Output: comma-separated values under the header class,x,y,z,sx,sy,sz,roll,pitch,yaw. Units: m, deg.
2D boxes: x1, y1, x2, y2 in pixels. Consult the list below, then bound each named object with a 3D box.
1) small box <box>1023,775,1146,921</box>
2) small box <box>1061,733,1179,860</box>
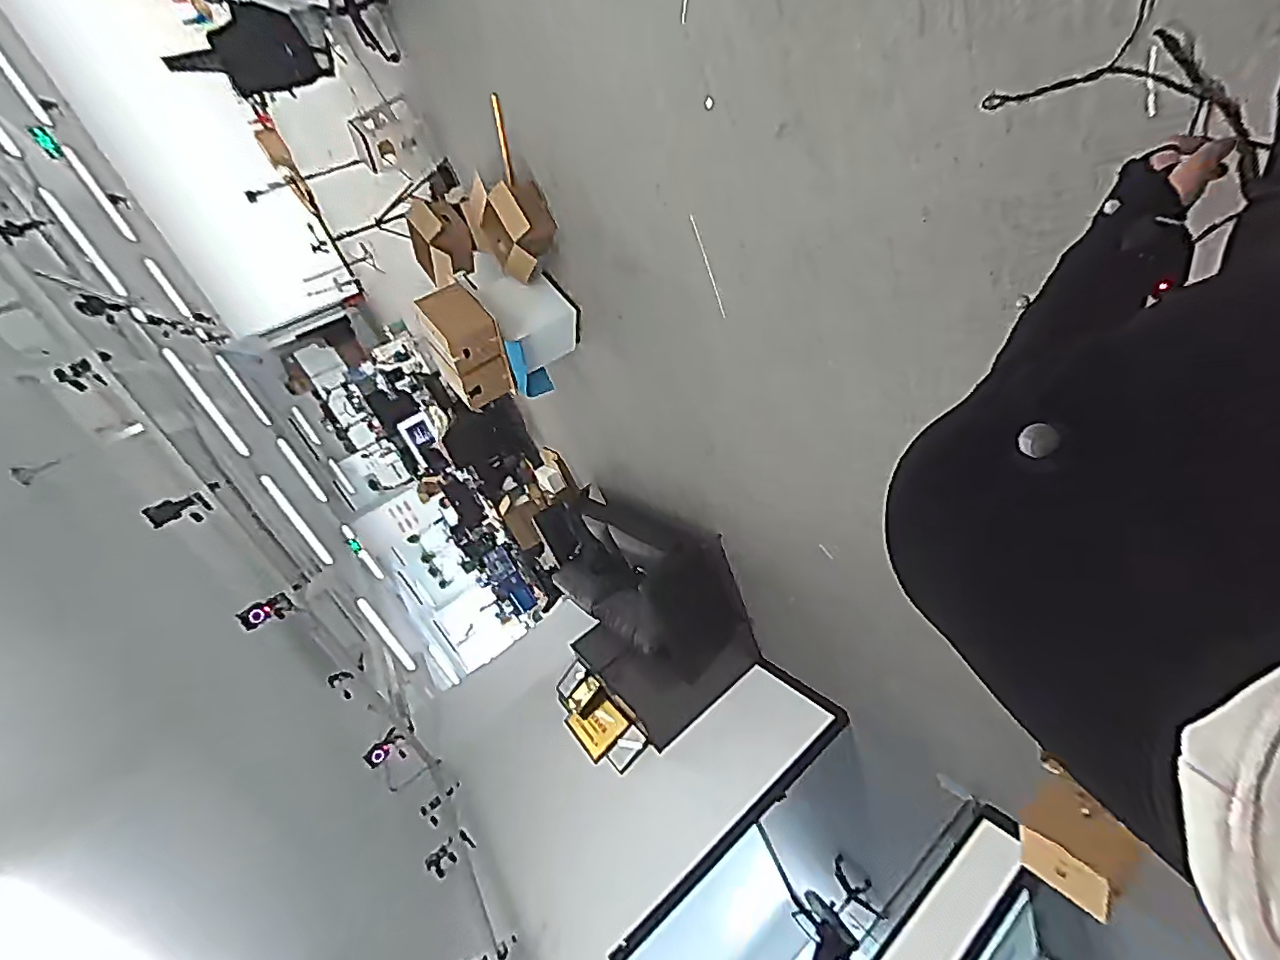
class,x,y,z,sx,sy,sz,roll,pitch,yaw
small box,0.997,0.818,1.217,0.168,0.176,0.179,21,137,56
small box,1.132,0.750,1.284,0.168,0.176,0.179,24,140,55
